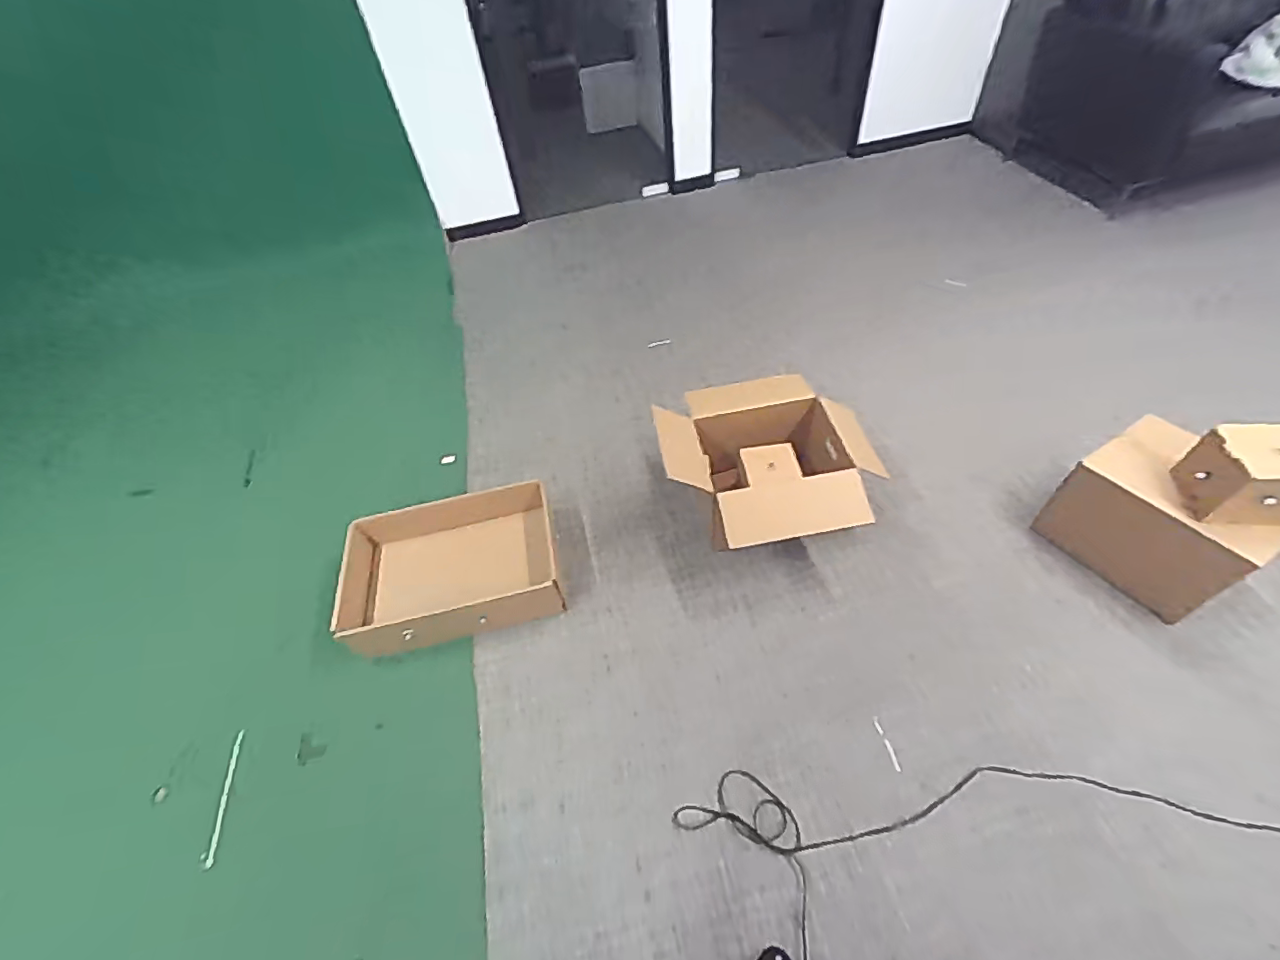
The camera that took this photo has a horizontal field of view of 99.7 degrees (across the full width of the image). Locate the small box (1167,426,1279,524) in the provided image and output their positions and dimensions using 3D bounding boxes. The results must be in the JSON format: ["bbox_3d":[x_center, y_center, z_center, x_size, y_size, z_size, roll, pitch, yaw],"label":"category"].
[{"bbox_3d":[1.404,-0.009,1.269,0.179,0.176,0.168,1,51,11],"label":"small box"}]
